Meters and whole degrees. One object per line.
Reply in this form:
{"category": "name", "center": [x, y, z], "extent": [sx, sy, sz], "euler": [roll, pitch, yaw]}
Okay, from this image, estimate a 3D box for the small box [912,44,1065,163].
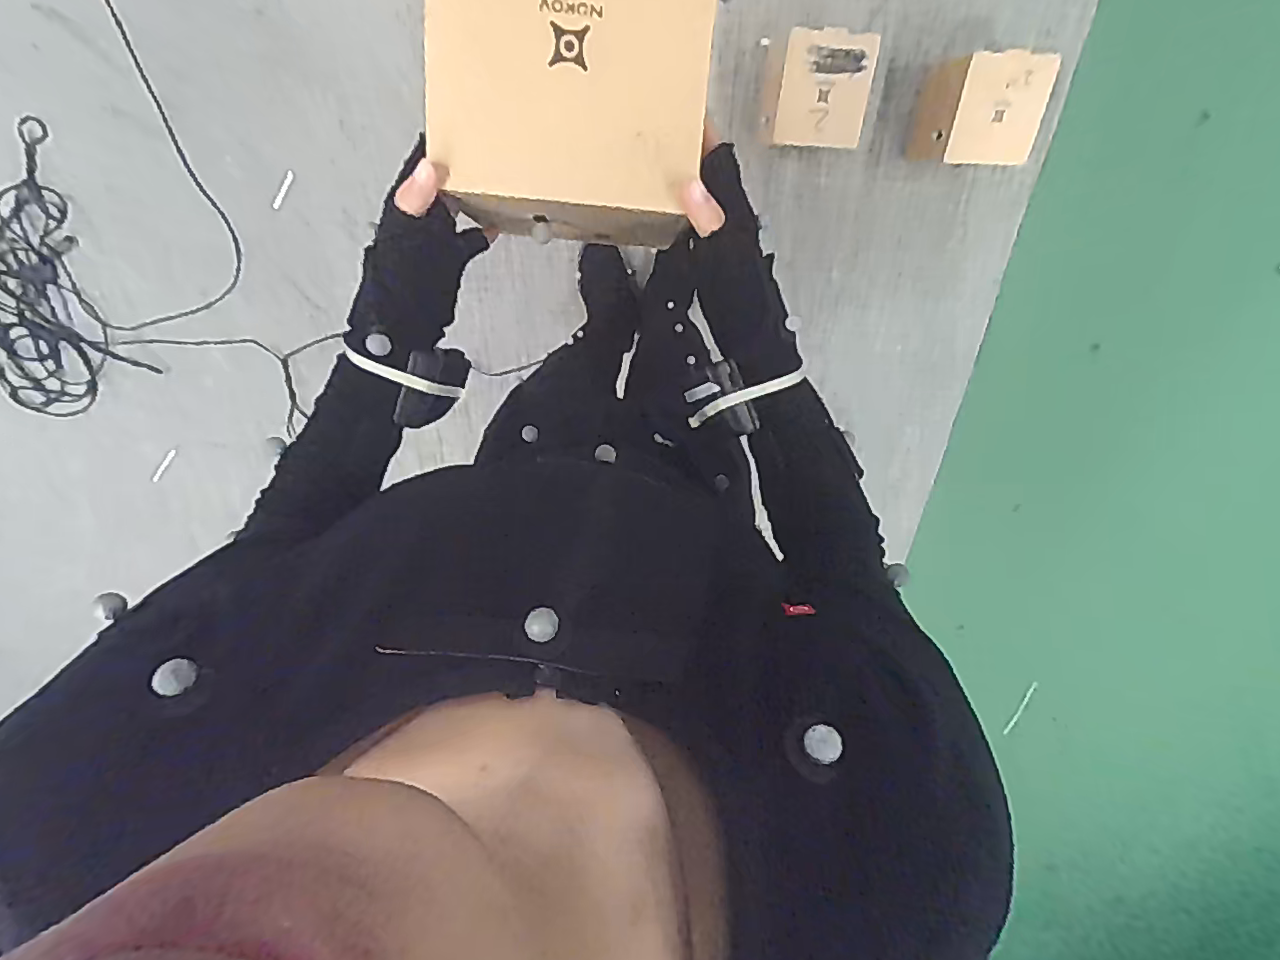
{"category": "small box", "center": [0.662, -0.727, 1.057], "extent": [0.168, 0.176, 0.179], "euler": [1, 121, -2]}
